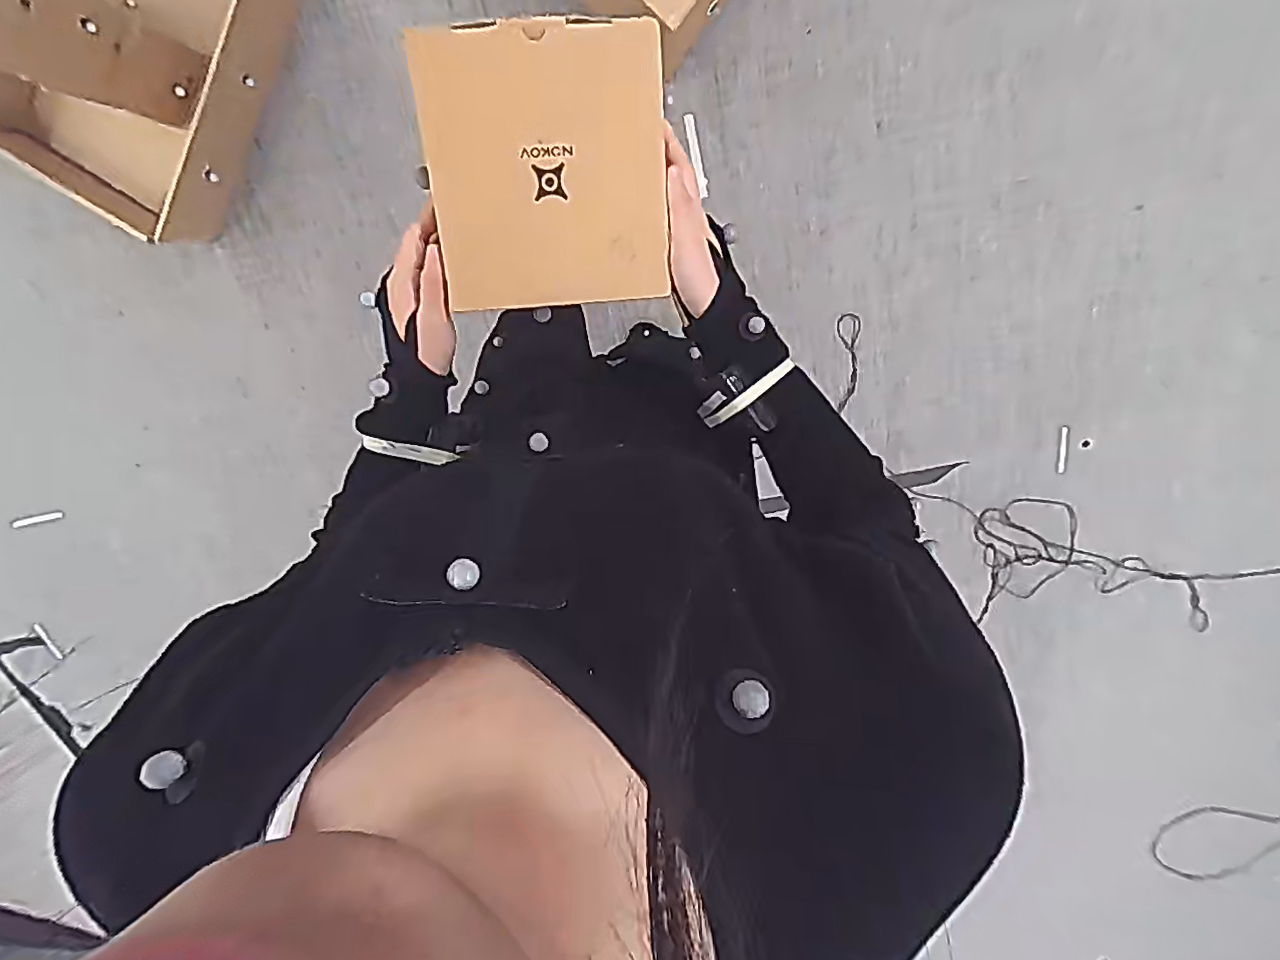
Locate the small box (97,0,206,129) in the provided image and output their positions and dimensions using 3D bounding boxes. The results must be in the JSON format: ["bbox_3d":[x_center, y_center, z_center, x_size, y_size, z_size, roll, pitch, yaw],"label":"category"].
[{"bbox_3d":[-1.020,-0.832,1.062,0.179,0.176,0.168,32,107,-13],"label":"small box"}]

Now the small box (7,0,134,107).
[{"bbox_3d":[-1.022,-0.770,0.912,0.179,0.176,0.168,28,107,-10],"label":"small box"}]

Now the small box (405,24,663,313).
[{"bbox_3d":[-0.073,-0.240,0.454,0.168,0.176,0.179,-5,109,-4],"label":"small box"}]
